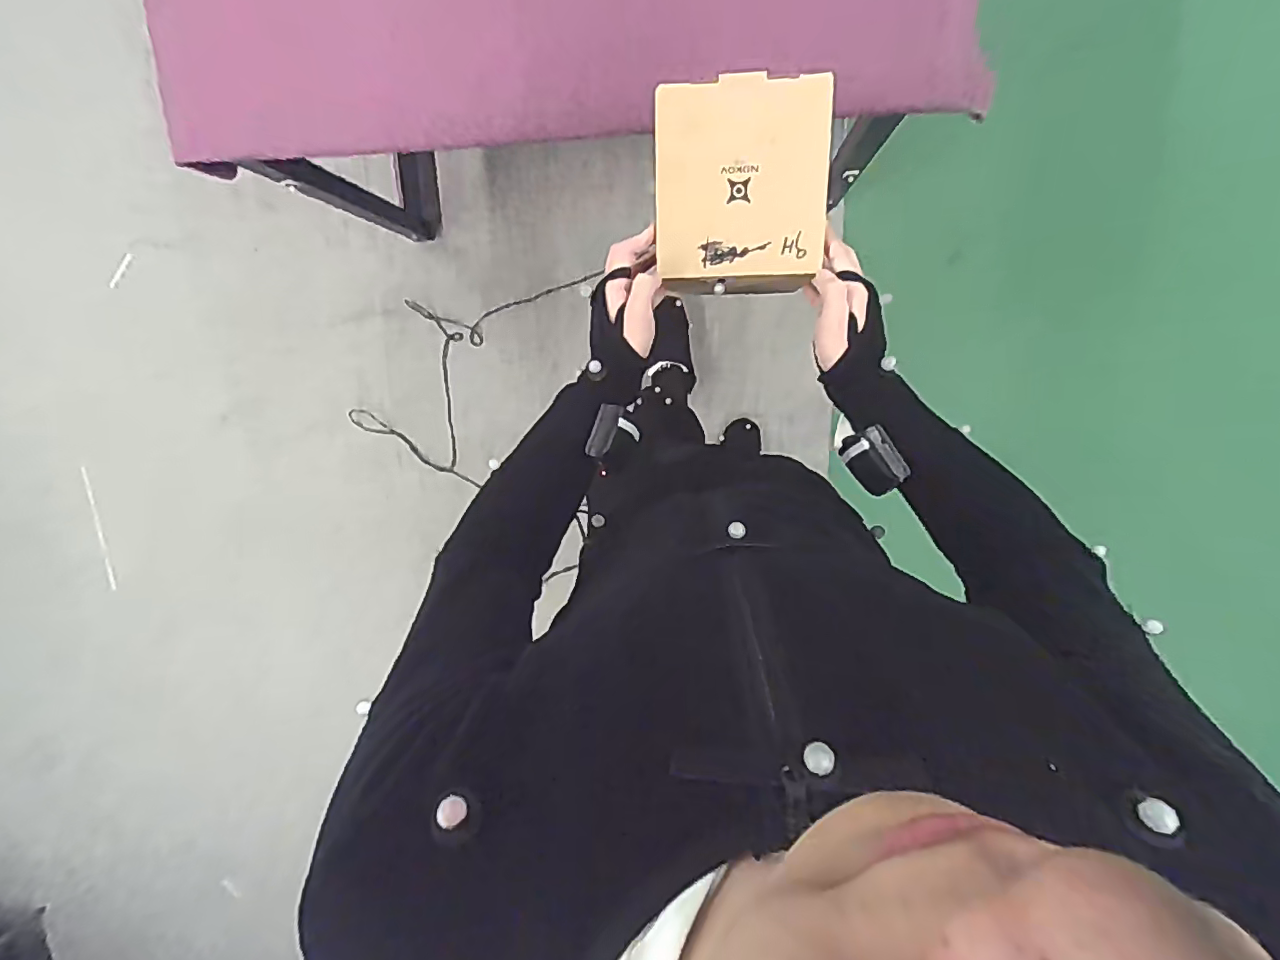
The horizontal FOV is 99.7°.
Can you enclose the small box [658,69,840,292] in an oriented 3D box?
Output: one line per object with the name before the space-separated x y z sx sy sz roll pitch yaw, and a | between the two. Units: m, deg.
small box | 0.108 -0.306 0.590 0.168 0.176 0.179 1 104 7
